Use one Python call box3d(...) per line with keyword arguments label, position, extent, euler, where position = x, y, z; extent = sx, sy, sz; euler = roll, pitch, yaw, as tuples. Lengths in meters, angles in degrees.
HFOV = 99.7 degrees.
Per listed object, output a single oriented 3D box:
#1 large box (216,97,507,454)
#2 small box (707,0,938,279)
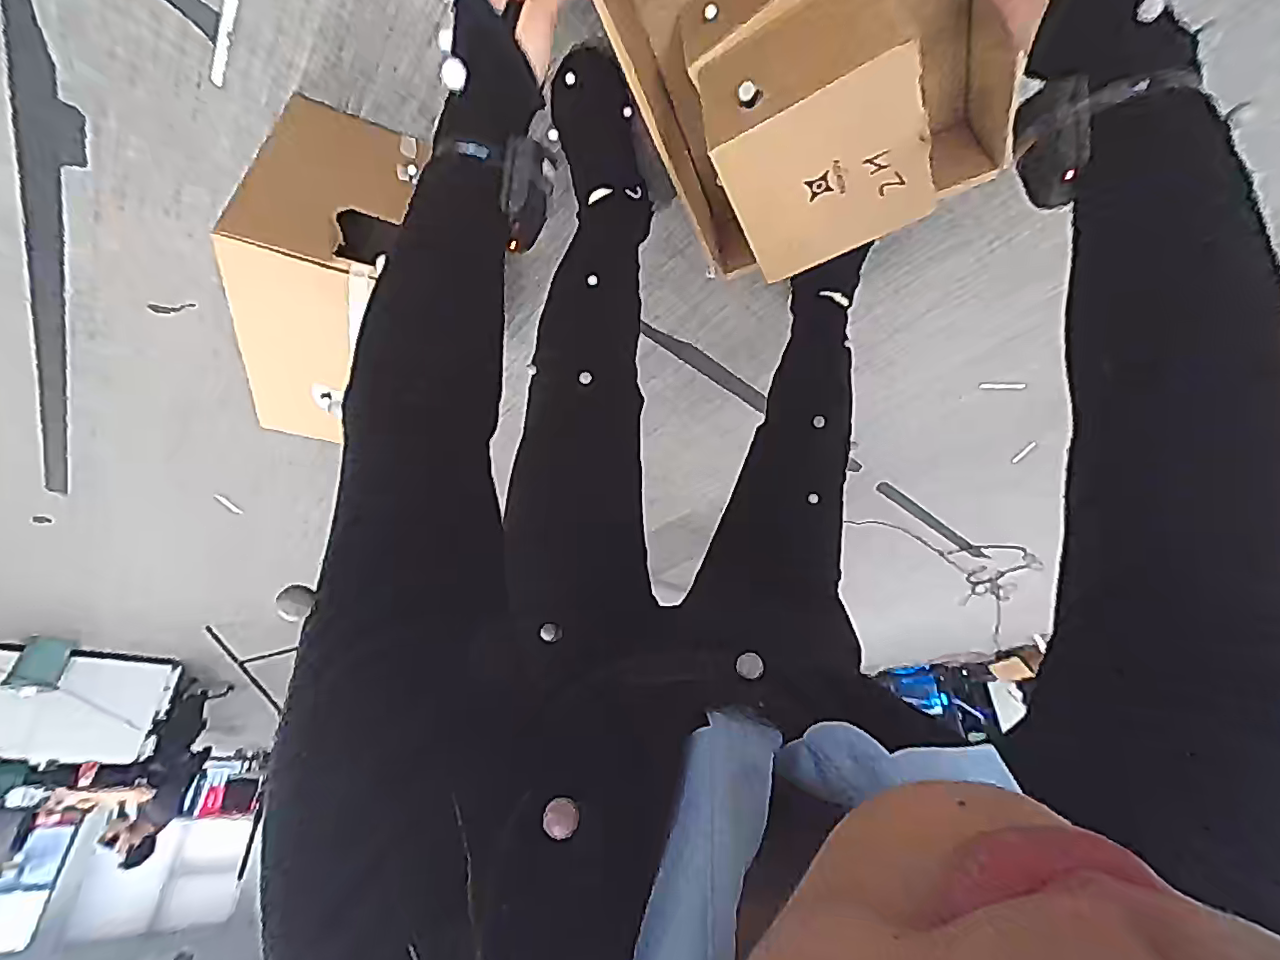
box3d(label="large box", position=(-0.417, -0.296, 0.887), extent=(0.320, 0.320, 0.408), euler=(12, 148, -20))
box3d(label="small box", position=(0.175, -0.347, 0.542), extent=(0.179, 0.176, 0.168), euler=(-18, 144, 24))
